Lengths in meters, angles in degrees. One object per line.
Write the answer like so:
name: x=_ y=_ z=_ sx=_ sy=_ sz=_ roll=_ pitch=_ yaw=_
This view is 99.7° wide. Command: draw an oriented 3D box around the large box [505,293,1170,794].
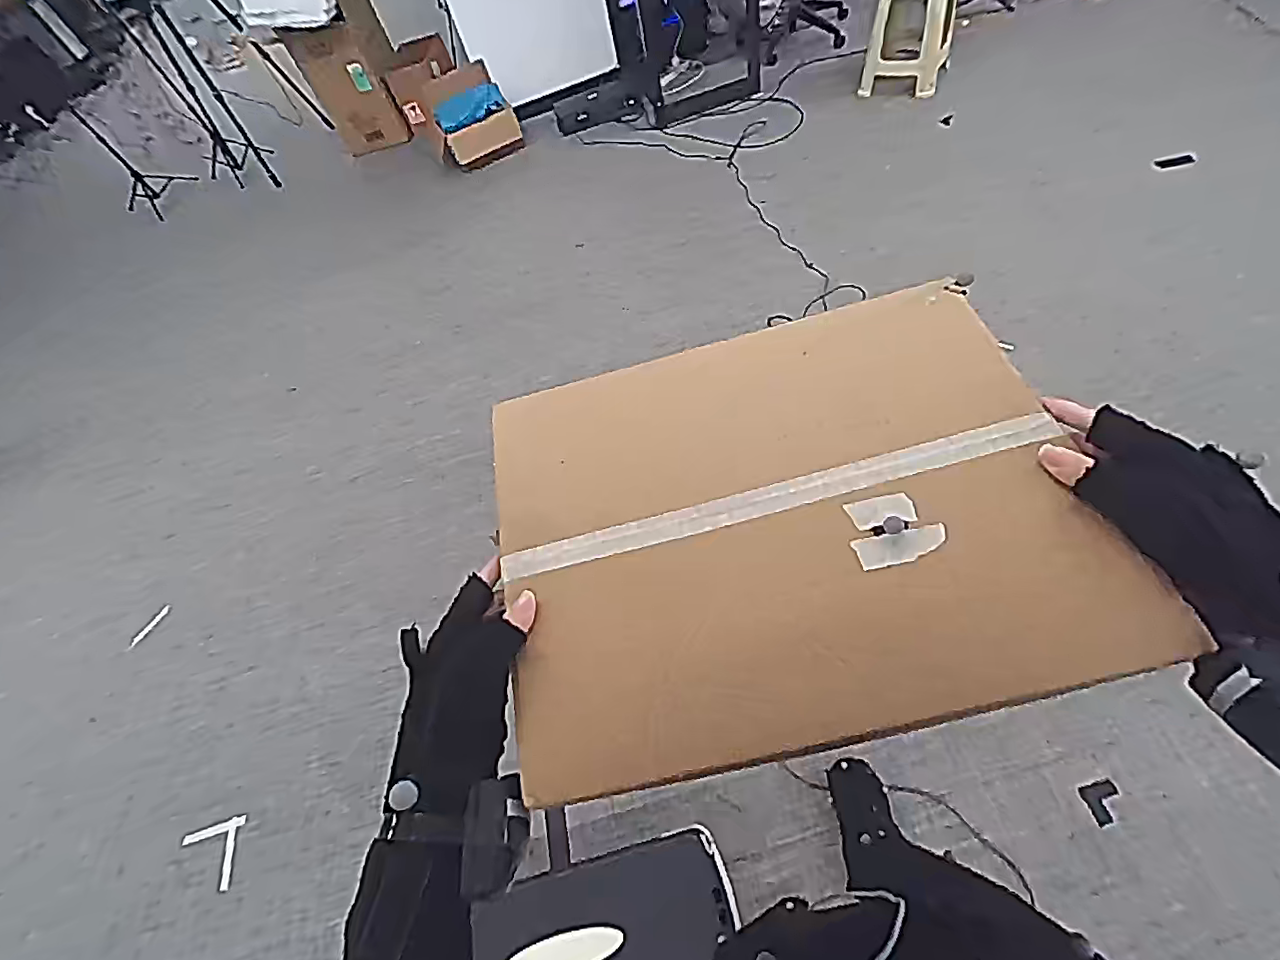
large box: x=0.124 y=0.087 z=0.534 sx=0.408 sy=0.320 sz=0.320 roll=-15 pitch=61 yaw=3
